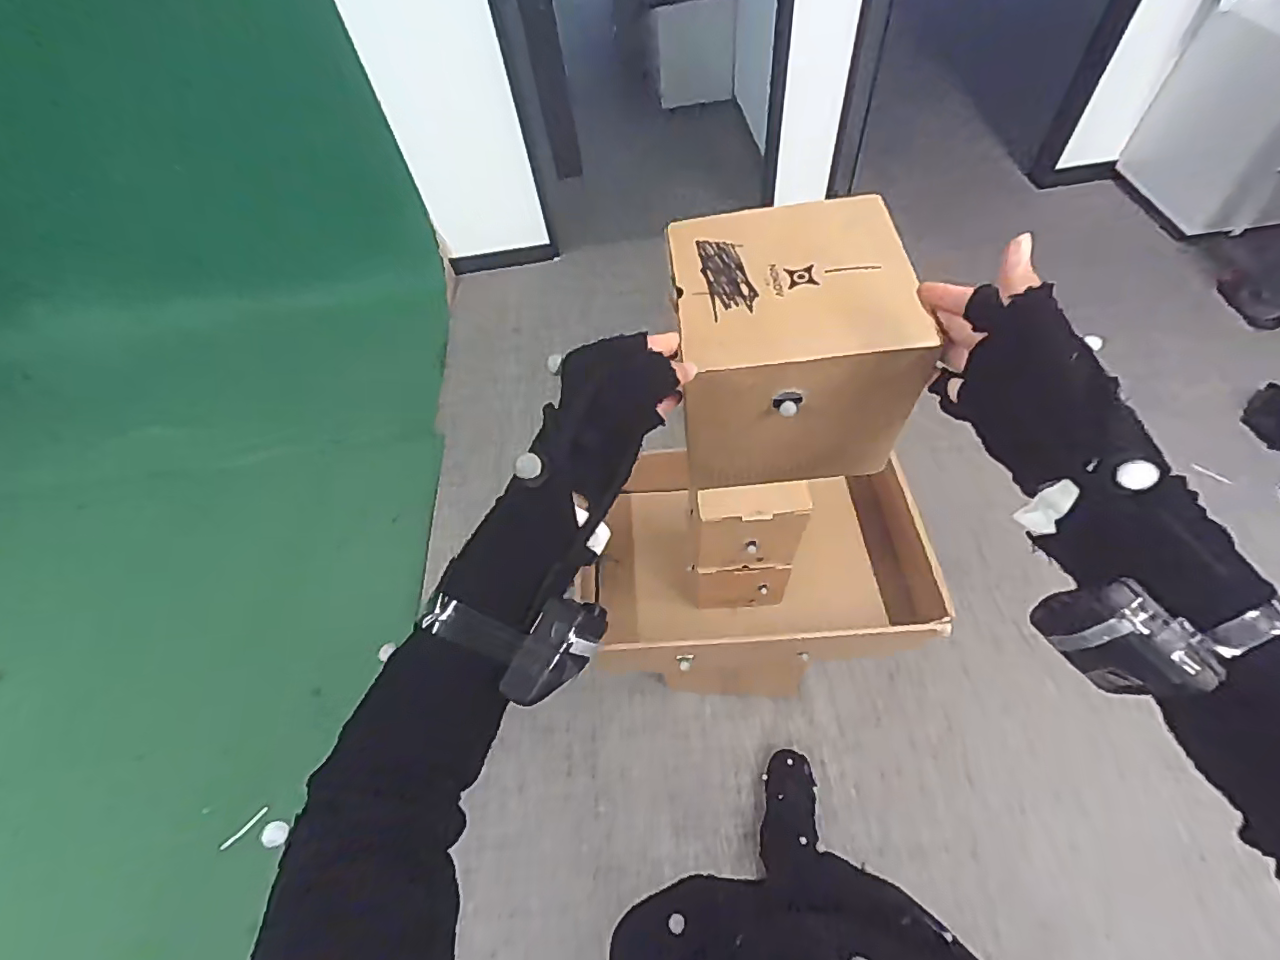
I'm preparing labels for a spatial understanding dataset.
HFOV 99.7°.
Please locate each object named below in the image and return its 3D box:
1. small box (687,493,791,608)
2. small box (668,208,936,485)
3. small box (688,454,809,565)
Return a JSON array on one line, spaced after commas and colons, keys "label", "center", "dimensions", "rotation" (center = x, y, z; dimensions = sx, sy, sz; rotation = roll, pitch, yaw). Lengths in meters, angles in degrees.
[{"label": "small box", "center": [0.179, 0.133, 1.027], "dimensions": [0.168, 0.176, 0.179], "rotation": [-4, 53, 1]}, {"label": "small box", "center": [0.123, -0.107, 0.481], "dimensions": [0.179, 0.176, 0.168], "rotation": [-5, 60, 4]}, {"label": "small box", "center": [0.169, 0.033, 0.897], "dimensions": [0.168, 0.176, 0.179], "rotation": [-4, 56, 2]}]
